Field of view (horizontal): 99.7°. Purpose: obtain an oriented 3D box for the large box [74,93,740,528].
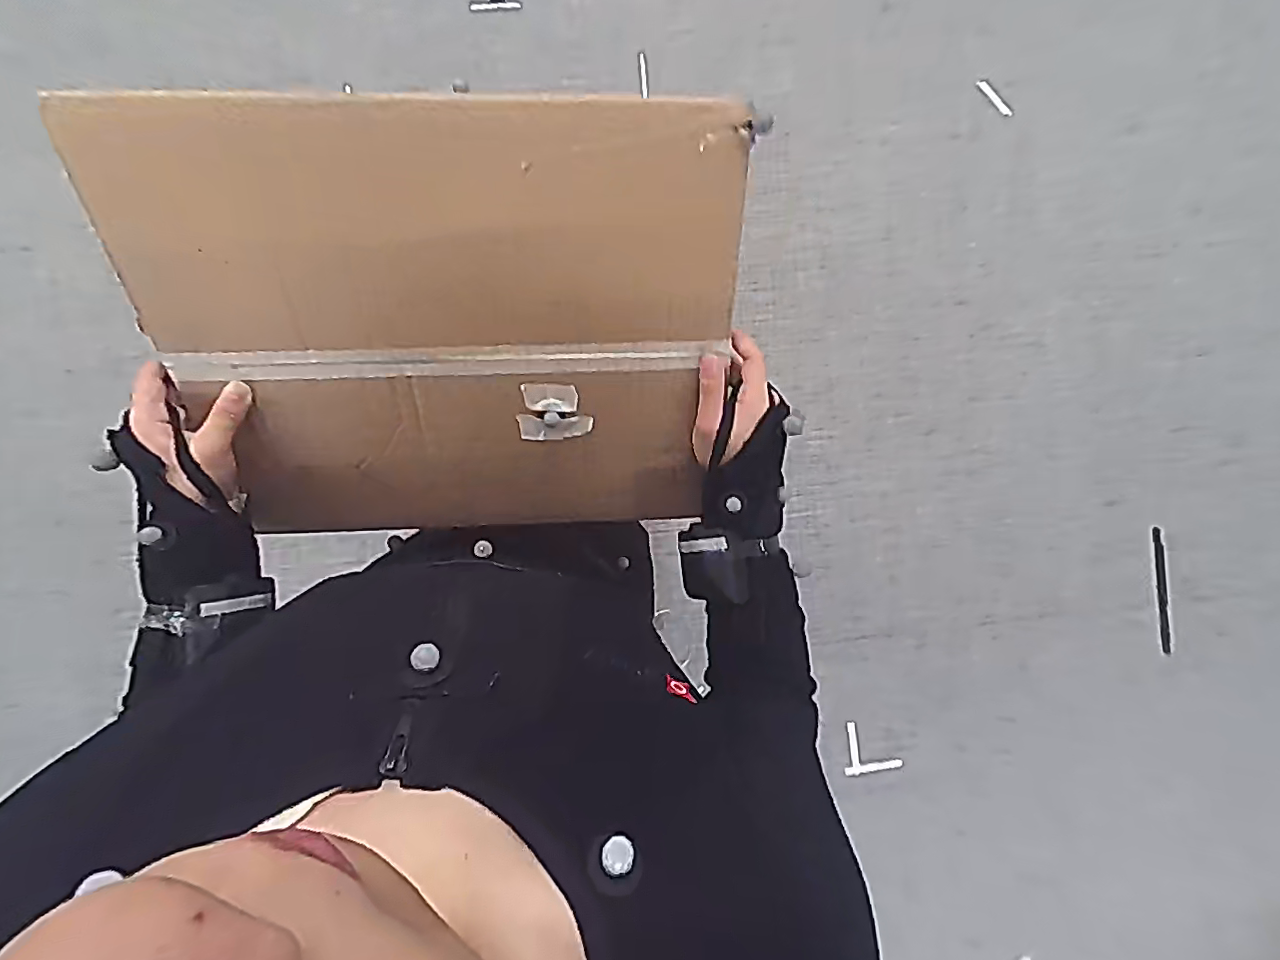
[{"bbox_3d":[-0.147,-0.179,0.530,0.408,0.320,0.320,-3,125,-4],"label":"large box"}]
